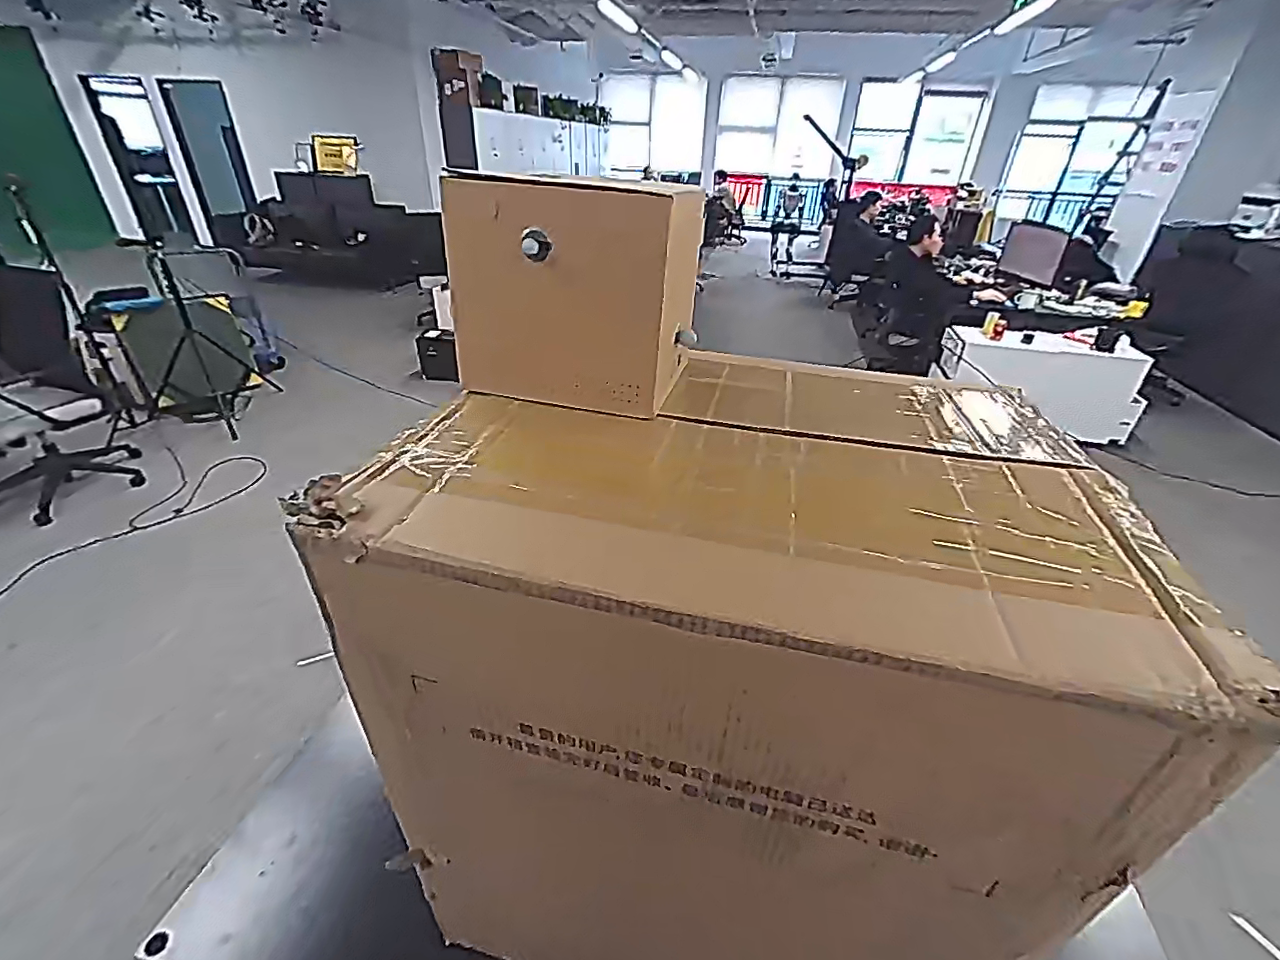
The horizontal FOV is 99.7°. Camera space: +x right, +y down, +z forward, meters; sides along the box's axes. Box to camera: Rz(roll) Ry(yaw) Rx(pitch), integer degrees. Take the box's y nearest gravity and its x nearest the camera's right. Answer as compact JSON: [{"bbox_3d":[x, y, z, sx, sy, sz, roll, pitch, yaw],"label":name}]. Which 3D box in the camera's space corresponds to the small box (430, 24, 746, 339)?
[{"bbox_3d":[-0.026,-0.211,0.404,0.179,0.176,0.168,10,31,10],"label":"small box"}]
